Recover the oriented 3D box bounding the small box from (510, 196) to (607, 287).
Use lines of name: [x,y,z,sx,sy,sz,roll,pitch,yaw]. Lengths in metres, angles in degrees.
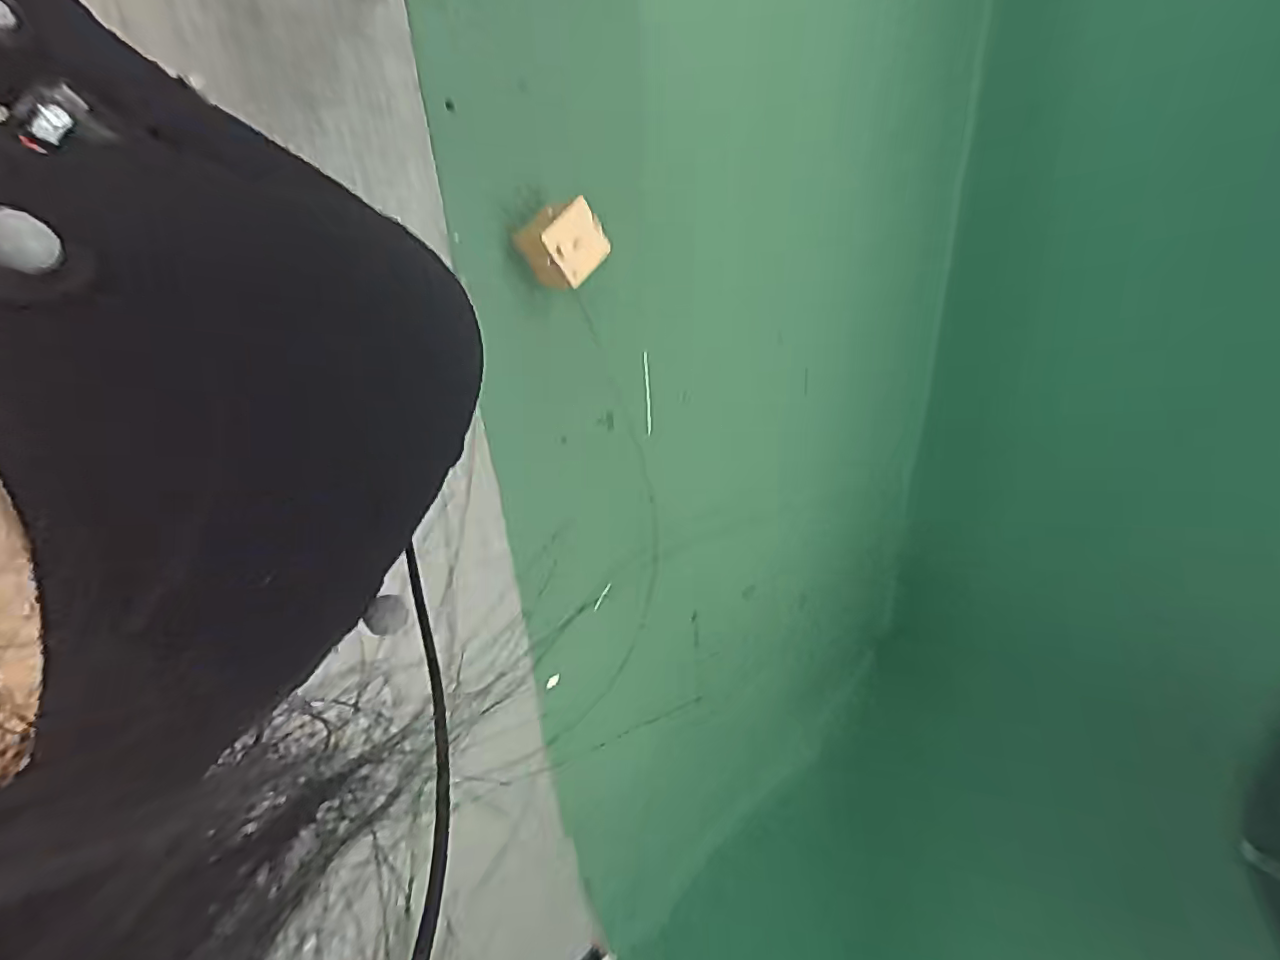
small box: [-0.234,-0.674,1.535,0.179,0.176,0.168,-52,134,-16]
